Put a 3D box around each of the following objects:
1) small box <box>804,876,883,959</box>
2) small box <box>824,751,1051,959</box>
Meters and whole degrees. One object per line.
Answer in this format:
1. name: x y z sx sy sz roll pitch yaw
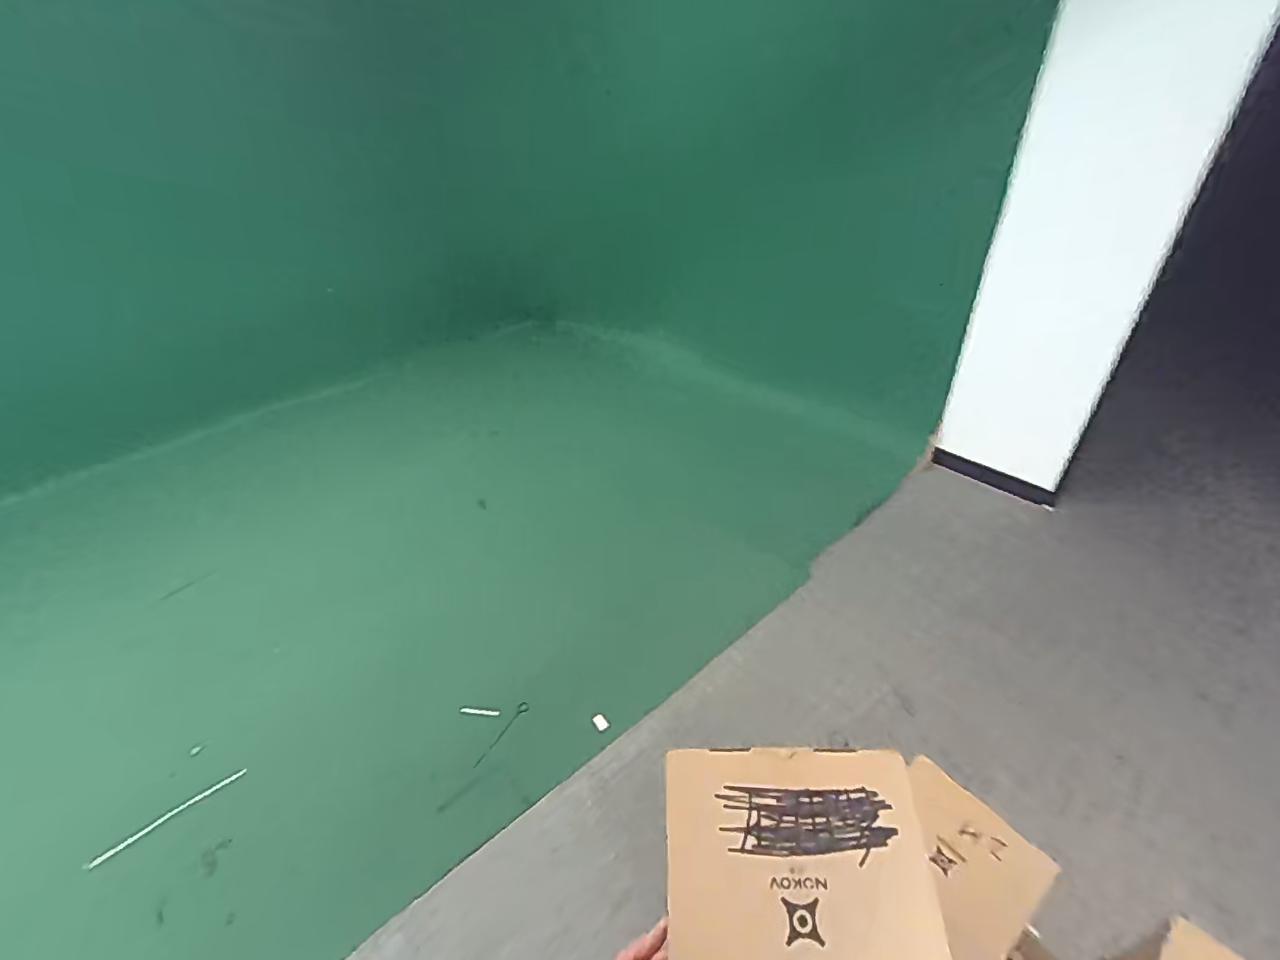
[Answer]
1. small box: 0.349 0.623 0.760 0.179 0.176 0.168 -28 44 -27
2. small box: 0.347 0.488 0.665 0.179 0.176 0.168 -27 44 -25
